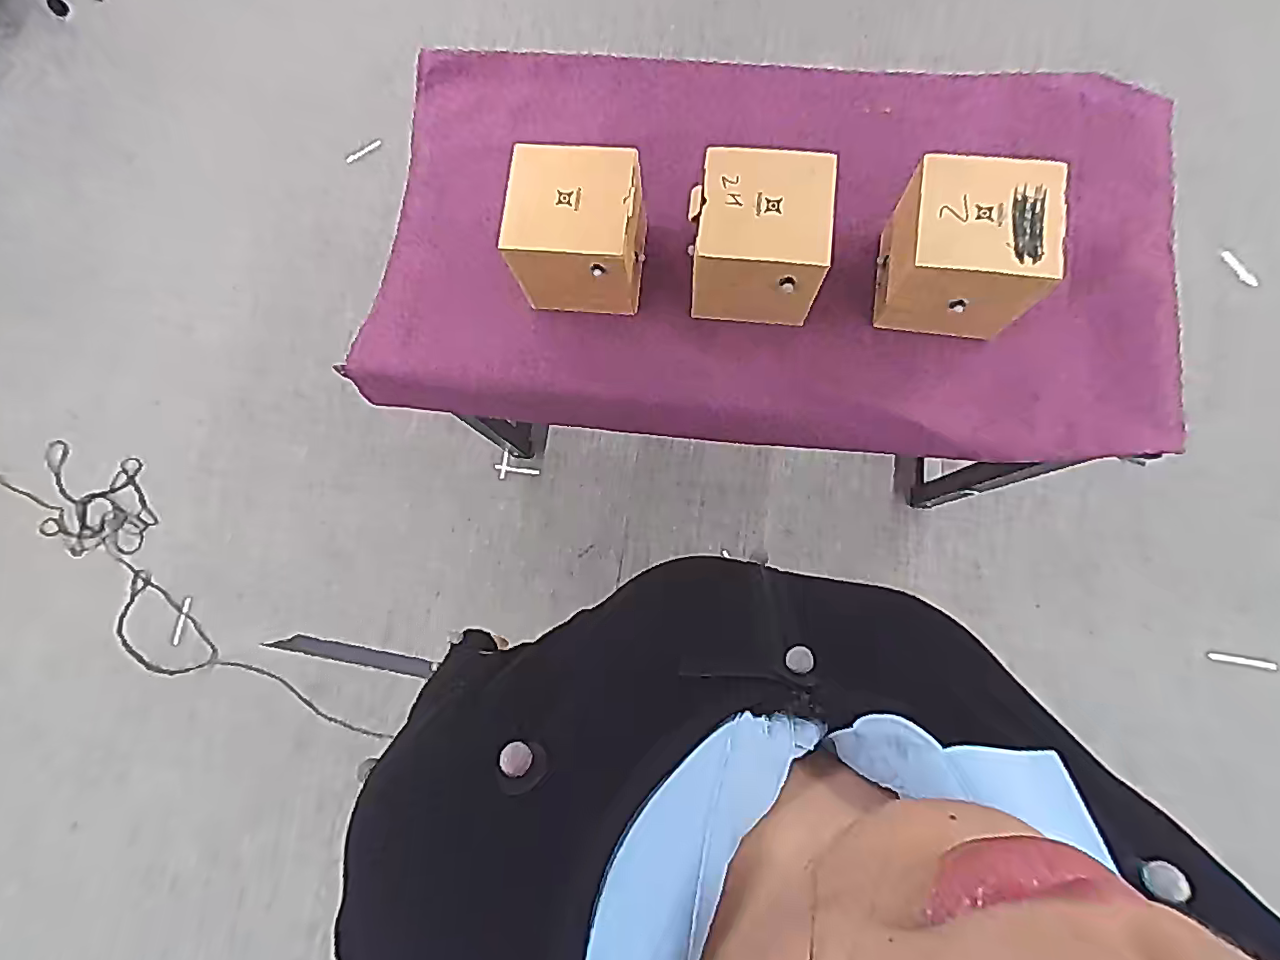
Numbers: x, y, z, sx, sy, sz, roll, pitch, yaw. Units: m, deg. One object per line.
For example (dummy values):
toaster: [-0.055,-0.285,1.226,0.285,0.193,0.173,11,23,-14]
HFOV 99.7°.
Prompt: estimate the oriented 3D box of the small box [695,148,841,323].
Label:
small box: [0.176,-0.344,0.786,0.179,0.176,0.168,6,79,6]

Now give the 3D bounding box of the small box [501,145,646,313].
small box: [-0.089,-0.367,0.814,0.179,0.176,0.168,5,80,5]
